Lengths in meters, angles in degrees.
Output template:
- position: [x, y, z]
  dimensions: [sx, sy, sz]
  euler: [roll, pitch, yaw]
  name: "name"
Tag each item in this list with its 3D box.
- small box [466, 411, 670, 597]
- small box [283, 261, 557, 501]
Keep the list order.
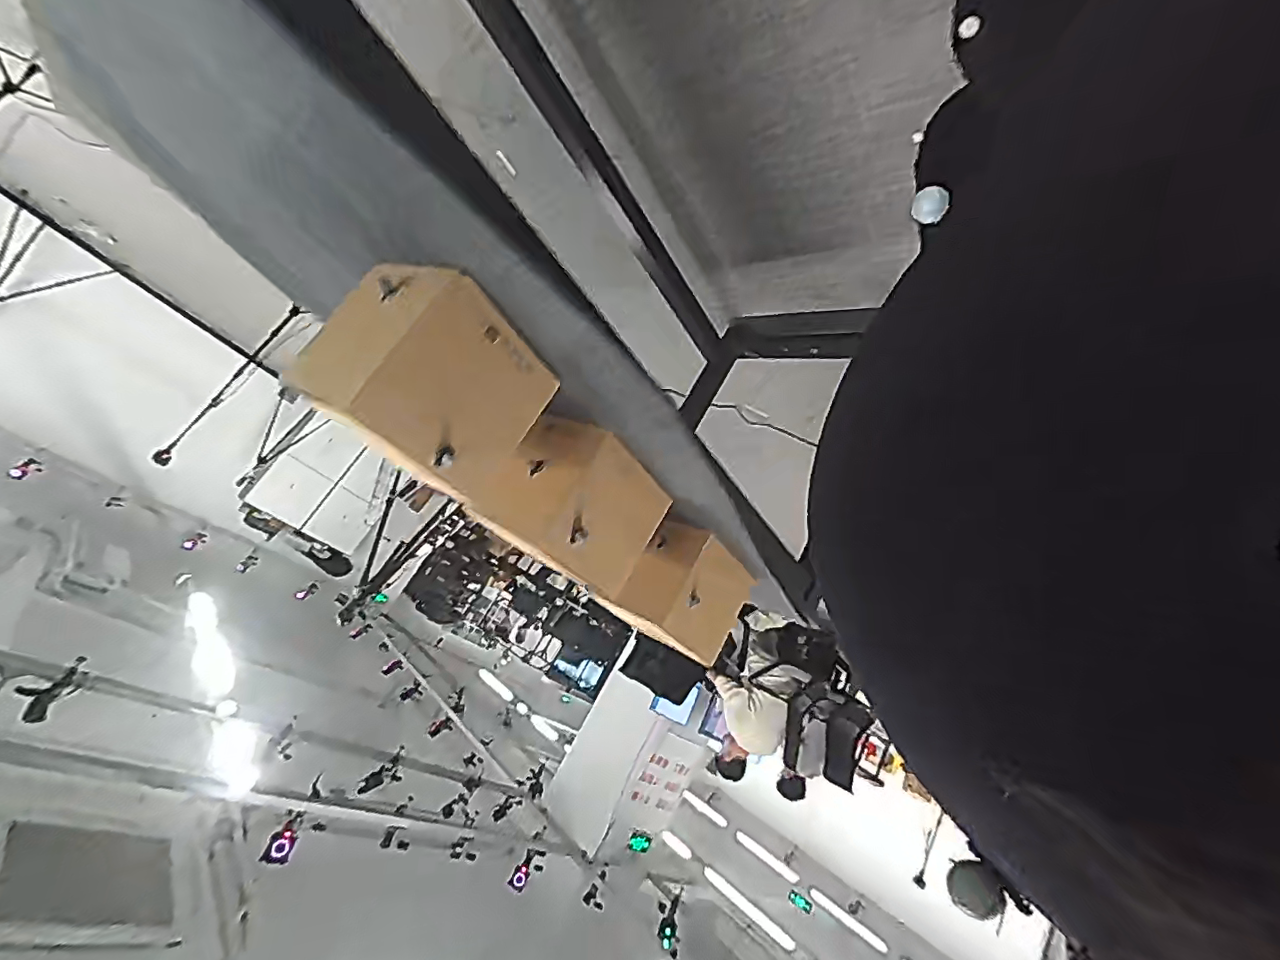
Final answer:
- position: [-0.091, 0.027, 0.739]
  dimensions: [0.168, 0.176, 0.179]
  euler: [19, 161, 41]
  name: "small box"
- position: [-0.223, -0.110, 0.573]
  dimensions: [0.179, 0.176, 0.168]
  euler: [21, 162, 38]
  name: "small box"
